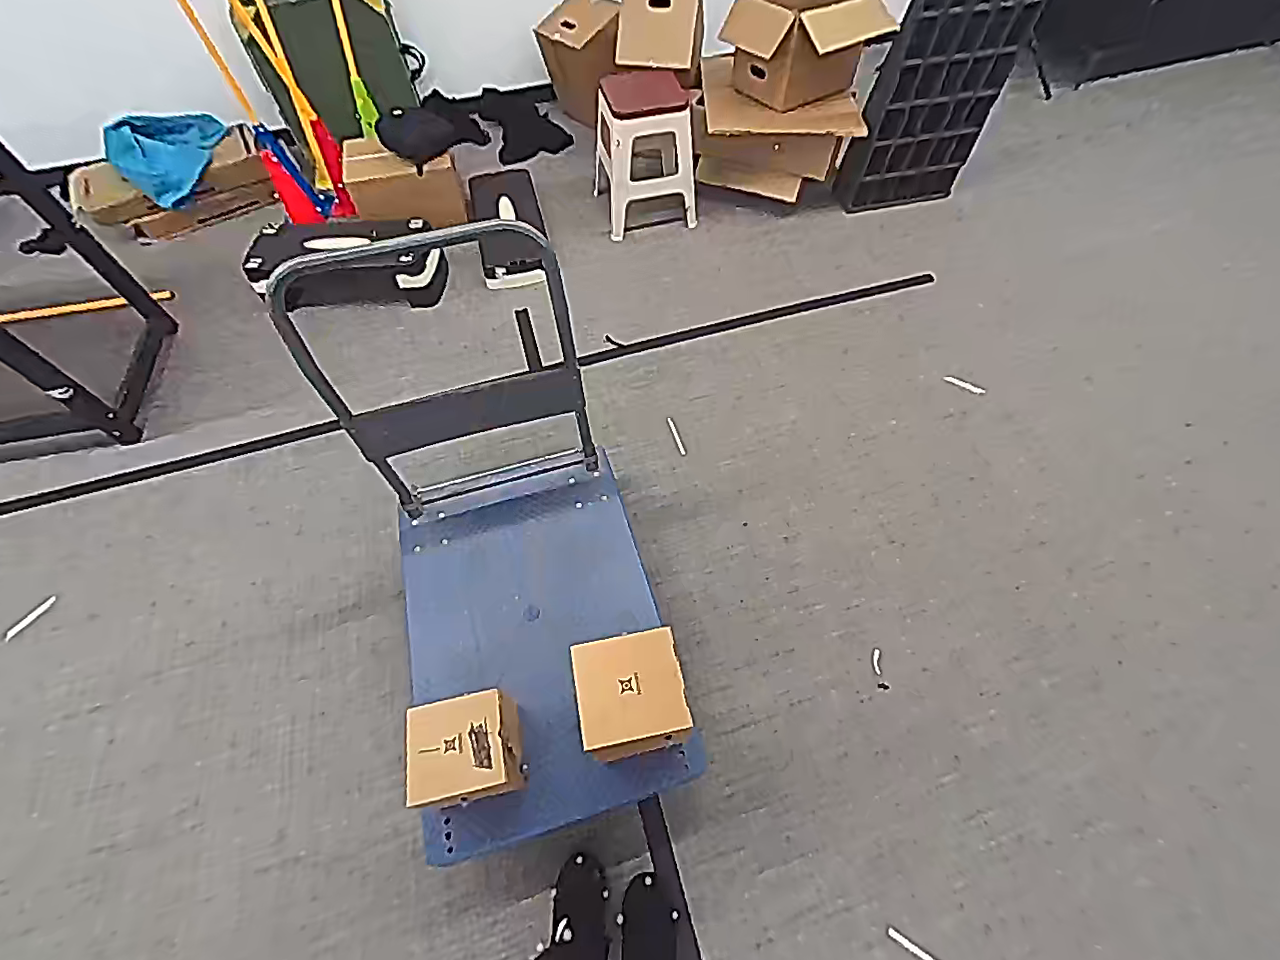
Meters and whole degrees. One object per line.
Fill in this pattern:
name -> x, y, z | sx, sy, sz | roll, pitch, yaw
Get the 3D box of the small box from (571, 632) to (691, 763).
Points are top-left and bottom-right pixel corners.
small box -> -0.016, 0.384, 0.945 | 0.179, 0.176, 0.168 | -10, 58, -6

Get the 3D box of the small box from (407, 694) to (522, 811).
small box -> -0.333, 0.530, 1.051 | 0.179, 0.176, 0.168 | -11, 59, -5
